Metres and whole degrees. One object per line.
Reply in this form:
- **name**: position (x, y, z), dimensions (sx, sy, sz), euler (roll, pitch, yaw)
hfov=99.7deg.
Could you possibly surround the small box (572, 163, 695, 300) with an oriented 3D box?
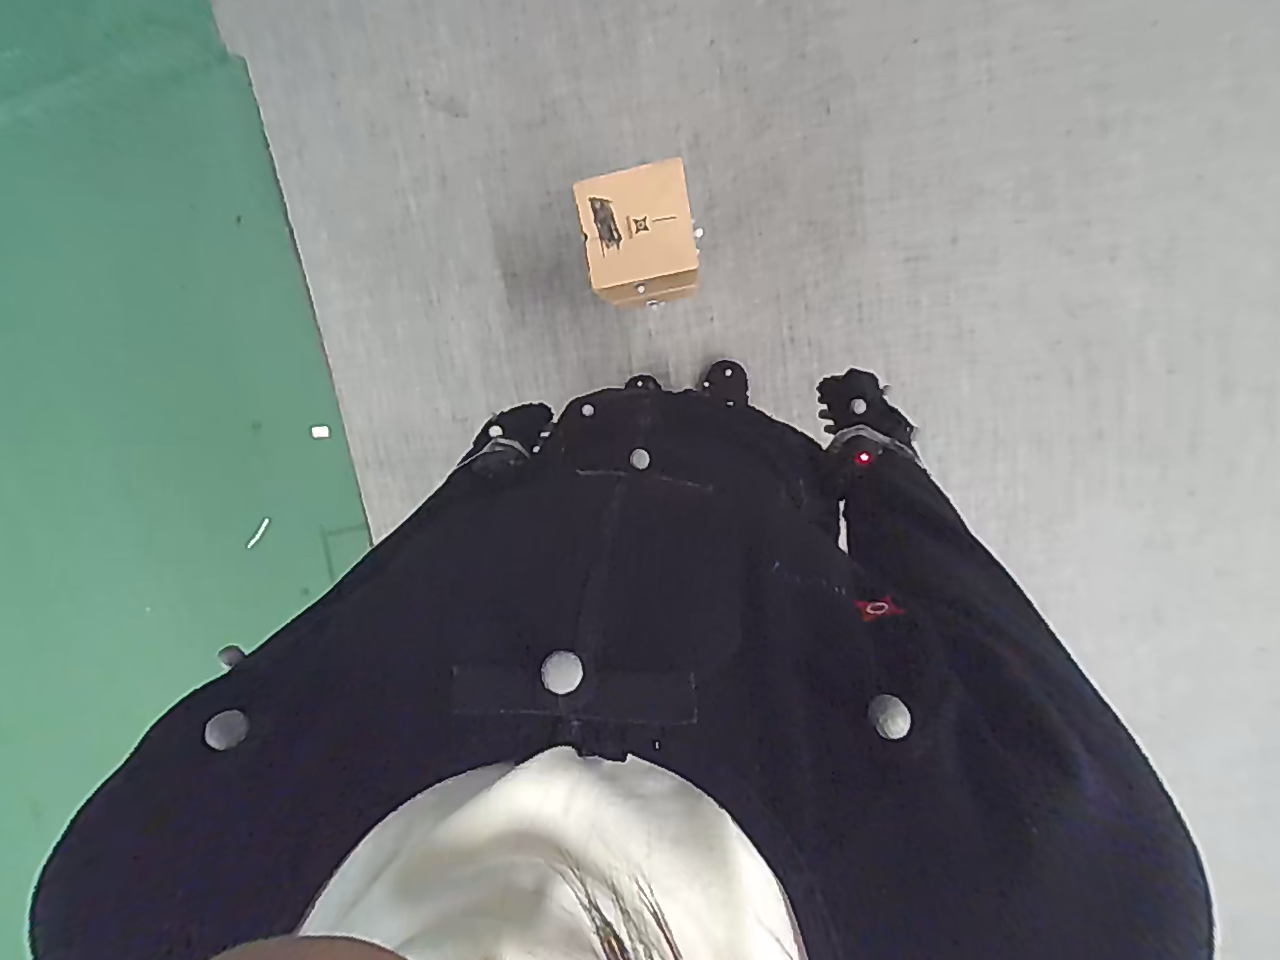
- **small box**: position (-0.002, -0.419, 0.943), dimensions (0.179, 0.176, 0.168), euler (-9, 102, 8)

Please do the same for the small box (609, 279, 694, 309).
- **small box**: position (0.014, -0.452, 1.086), dimensions (0.168, 0.176, 0.179), euler (-9, 103, 9)
